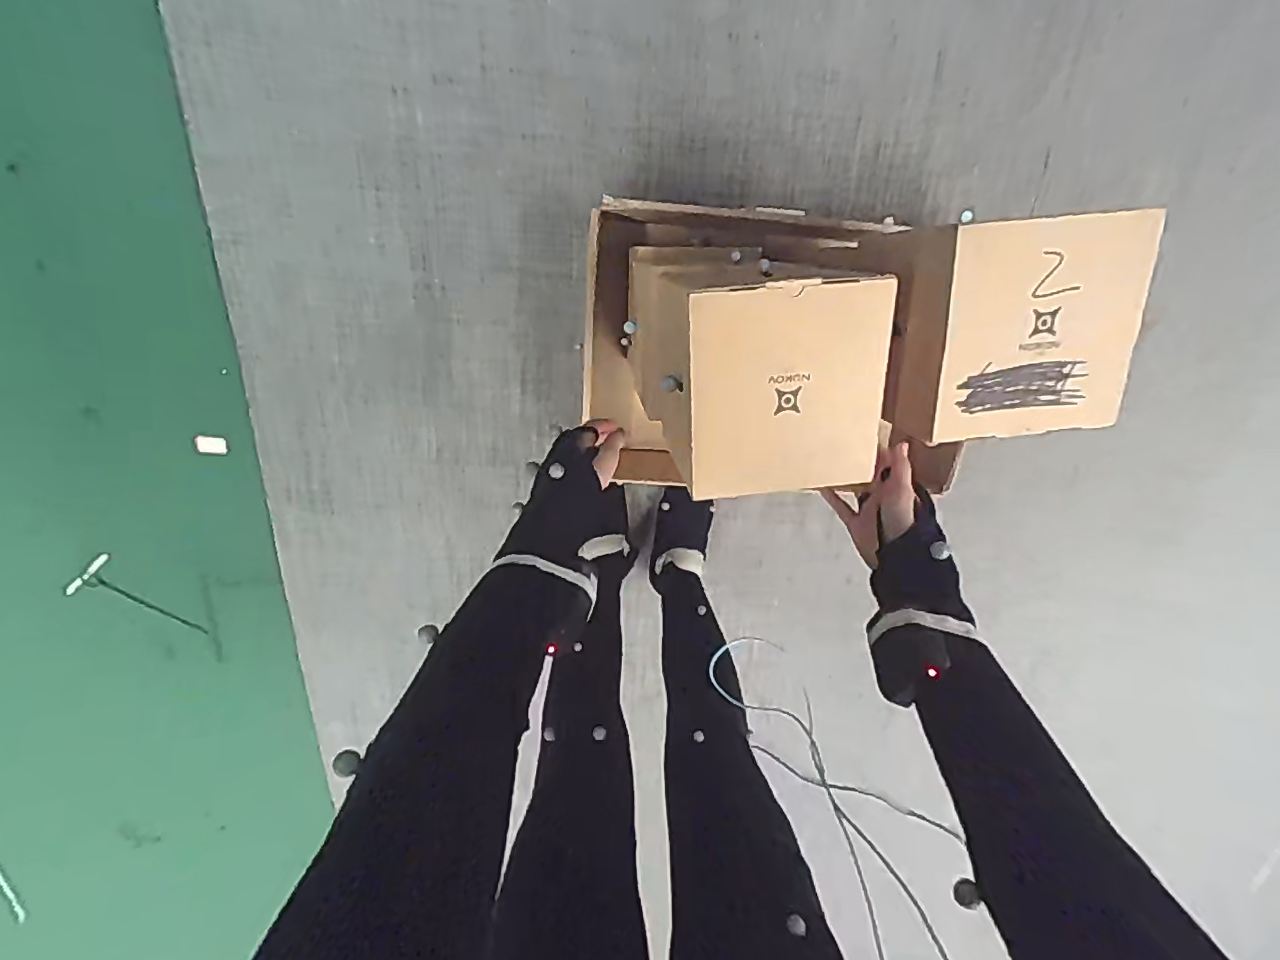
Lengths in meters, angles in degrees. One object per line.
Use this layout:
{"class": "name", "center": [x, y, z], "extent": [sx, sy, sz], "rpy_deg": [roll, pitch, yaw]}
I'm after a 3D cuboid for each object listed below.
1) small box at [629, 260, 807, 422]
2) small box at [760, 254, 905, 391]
{"class": "small box", "center": [0.080, -0.175, 0.654], "extent": [0.179, 0.176, 0.168], "rpy_deg": [-2, 113, -4]}
{"class": "small box", "center": [0.265, -0.243, 0.820], "extent": [0.168, 0.176, 0.179], "rpy_deg": [3, 113, -4]}
